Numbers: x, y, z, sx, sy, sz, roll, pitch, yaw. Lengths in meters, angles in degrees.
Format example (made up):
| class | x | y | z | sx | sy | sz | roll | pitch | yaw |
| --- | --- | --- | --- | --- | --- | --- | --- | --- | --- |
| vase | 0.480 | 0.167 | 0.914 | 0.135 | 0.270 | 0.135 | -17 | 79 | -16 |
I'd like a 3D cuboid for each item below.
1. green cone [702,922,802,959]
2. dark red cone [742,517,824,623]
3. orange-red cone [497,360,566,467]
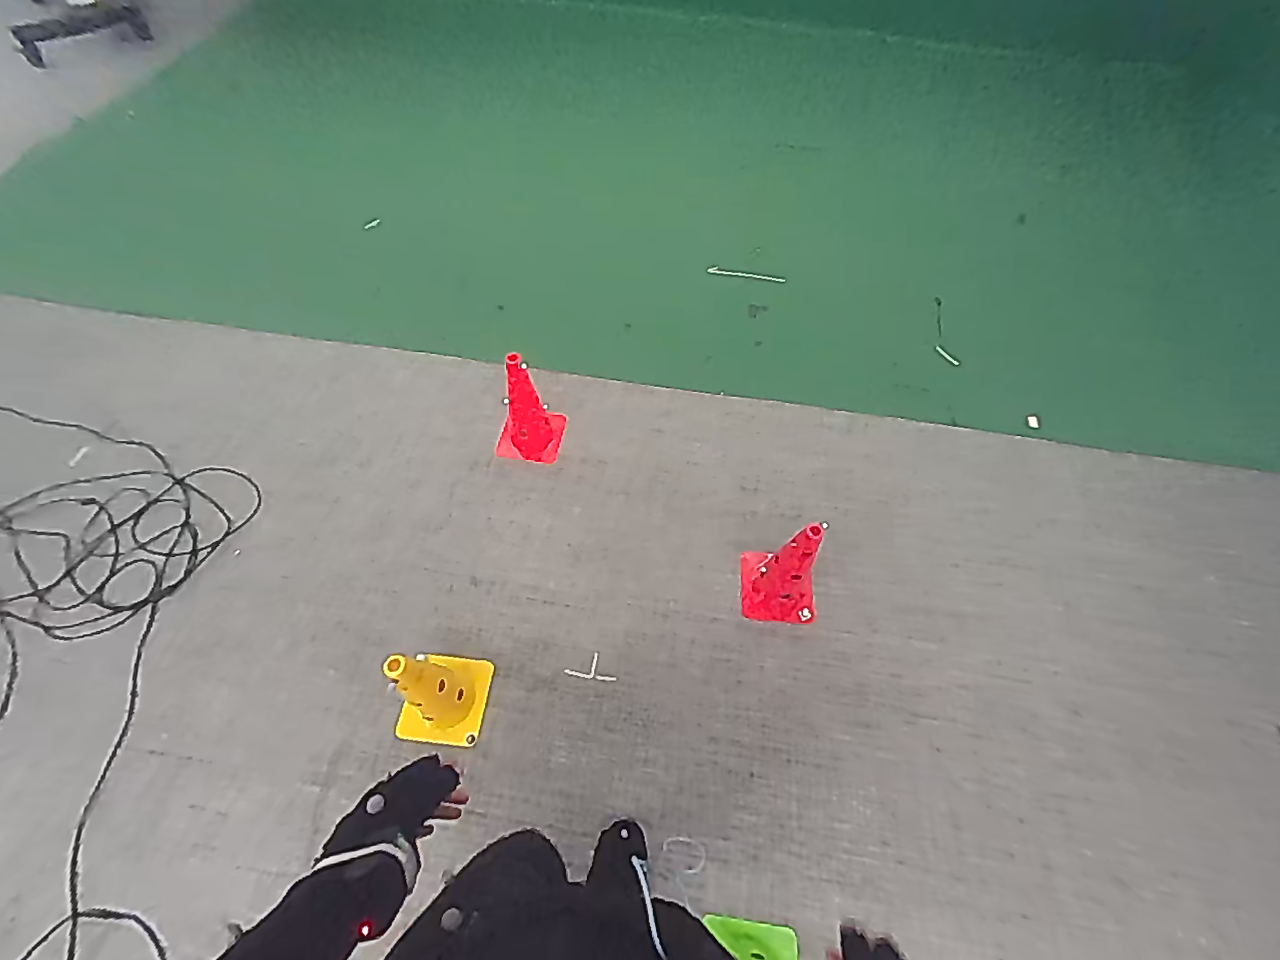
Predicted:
| class | x | y | z | sx | sy | sz | roll | pitch | yaw |
| --- | --- | --- | --- | --- | --- | --- | --- | --- | --- |
| green cone | 0.221 | 0.919 | 0.923 | 0.202 | 0.368 | 0.200 | 6 | 58 | 4 |
| dark red cone | 0.385 | 0.204 | 1.346 | 0.202 | 0.394 | 0.201 | 4 | 57 | 1 |
| orange-red cone | -0.352 | -0.220 | 1.620 | 0.198 | 0.360 | 0.199 | 8 | 59 | 5 |
